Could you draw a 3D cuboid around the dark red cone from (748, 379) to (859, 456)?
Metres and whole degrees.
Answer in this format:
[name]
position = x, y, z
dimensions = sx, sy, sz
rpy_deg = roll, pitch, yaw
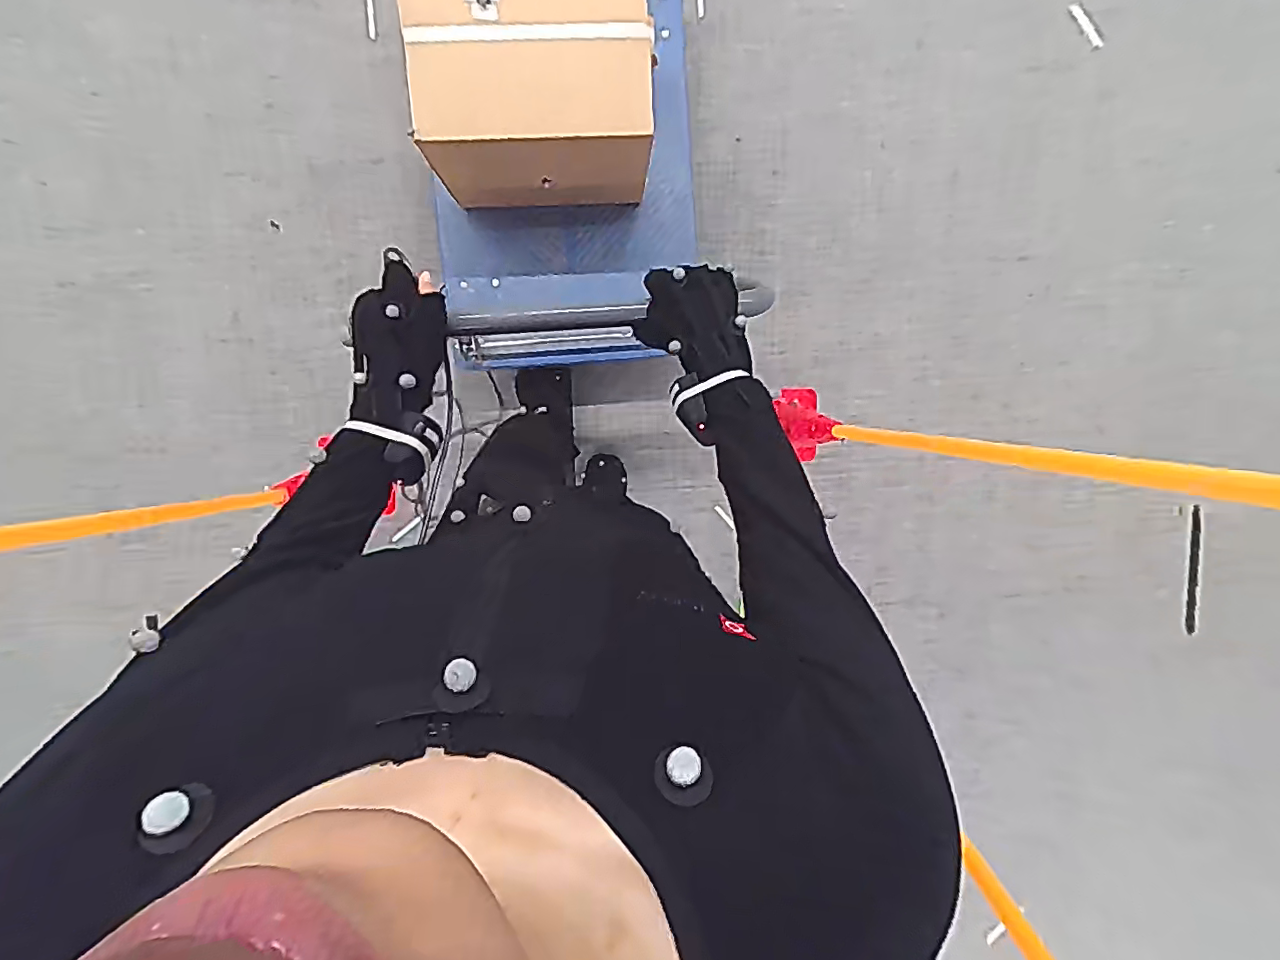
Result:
[dark red cone]
position = 0.404, -0.144, 1.277
dimensions = 0.201, 0.394, 0.202
rpy_deg = -3, 98, -5

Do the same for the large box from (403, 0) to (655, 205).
[large box]
position = -0.190, -0.748, 1.038
dimensions = 0.408, 0.320, 0.320
rpy_deg = -4, 98, -3

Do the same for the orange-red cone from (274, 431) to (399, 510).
[orange-red cone]
position = -0.722, -0.006, 1.244
dimensions = 0.198, 0.360, 0.199
rpy_deg = 5, 95, -5

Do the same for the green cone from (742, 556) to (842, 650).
[green cone]
position = 0.401, 0.335, 1.355
dimensions = 0.202, 0.368, 0.200
rpy_deg = 1, 97, -5
